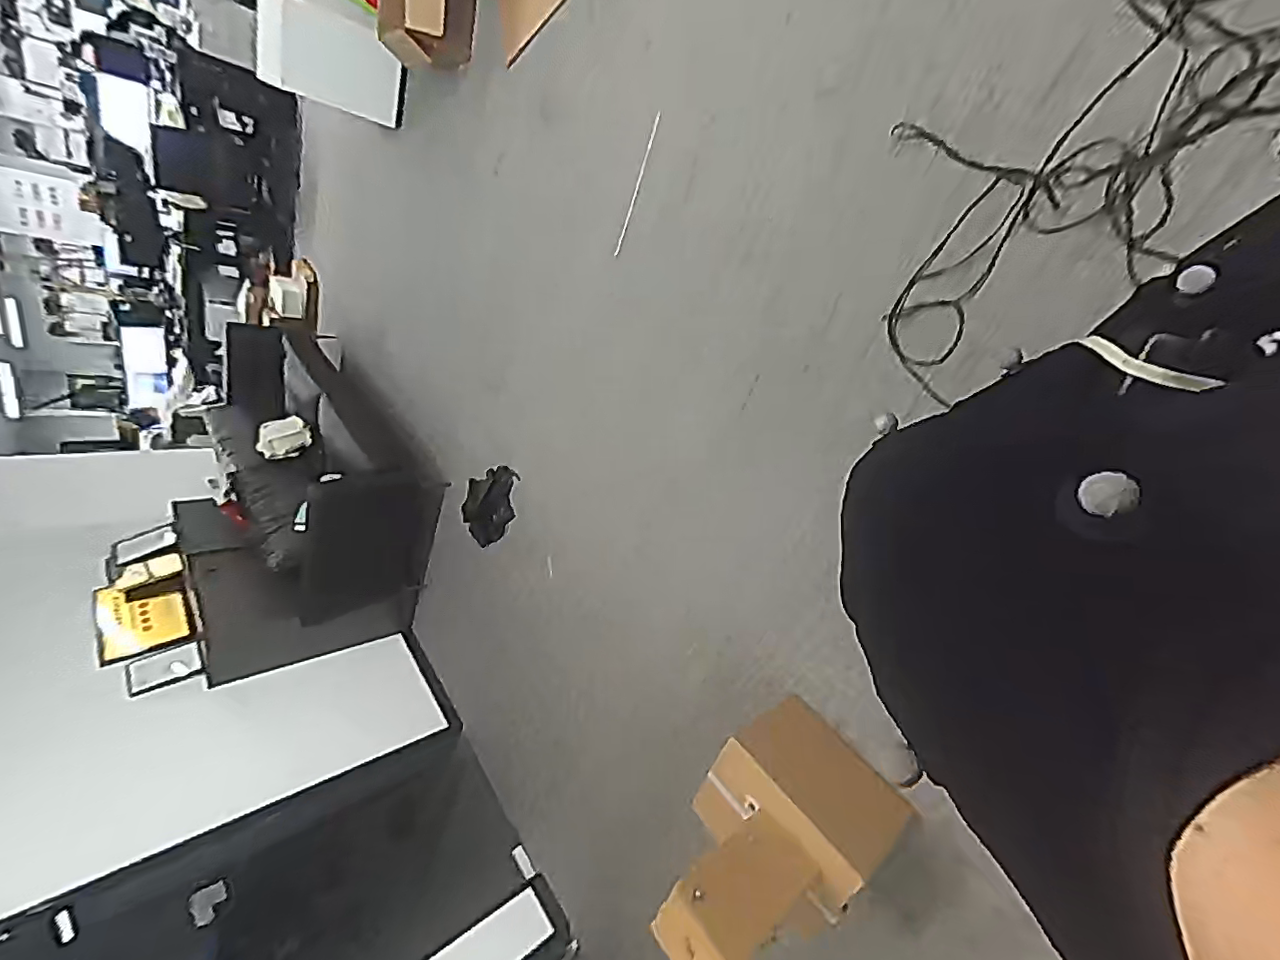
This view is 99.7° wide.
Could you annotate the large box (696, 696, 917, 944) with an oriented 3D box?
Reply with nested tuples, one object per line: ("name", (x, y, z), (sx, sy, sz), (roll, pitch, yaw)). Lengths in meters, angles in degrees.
("large box", (0.433, 0.874, 1.446), (0.408, 0.320, 0.320), (41, 121, 37))

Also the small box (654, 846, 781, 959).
("small box", (0.165, 0.932, 1.142), (0.179, 0.176, 0.168), (40, 122, 37))
